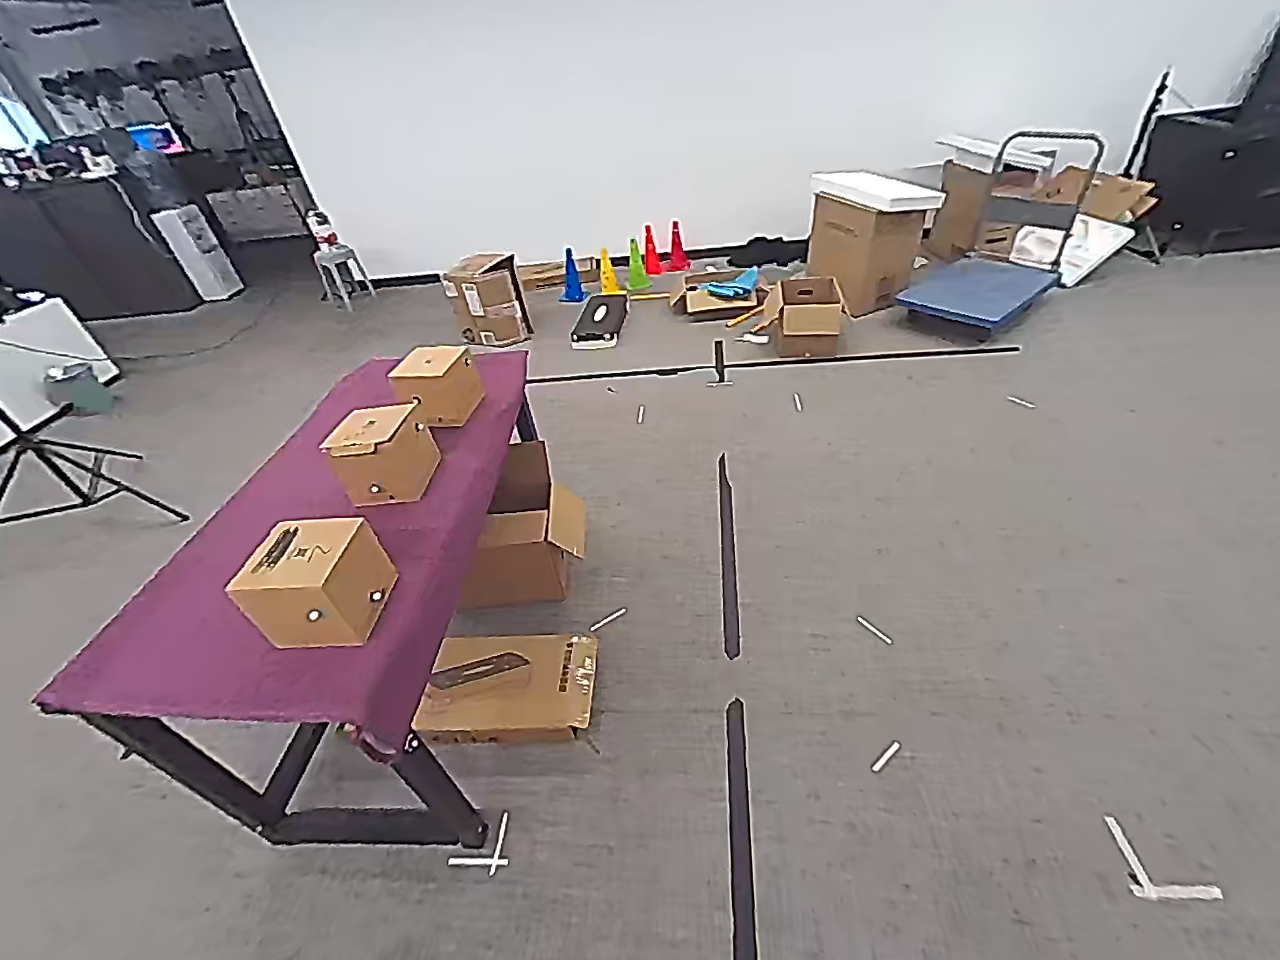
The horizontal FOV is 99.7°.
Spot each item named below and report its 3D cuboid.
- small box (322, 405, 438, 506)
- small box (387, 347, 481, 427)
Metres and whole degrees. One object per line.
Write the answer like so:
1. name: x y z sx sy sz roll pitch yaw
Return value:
1. small box: -0.609 -0.059 1.296 0.168 0.176 0.179 -6 39 7
2. small box: -0.575 -0.262 1.539 0.168 0.176 0.179 1 40 11
